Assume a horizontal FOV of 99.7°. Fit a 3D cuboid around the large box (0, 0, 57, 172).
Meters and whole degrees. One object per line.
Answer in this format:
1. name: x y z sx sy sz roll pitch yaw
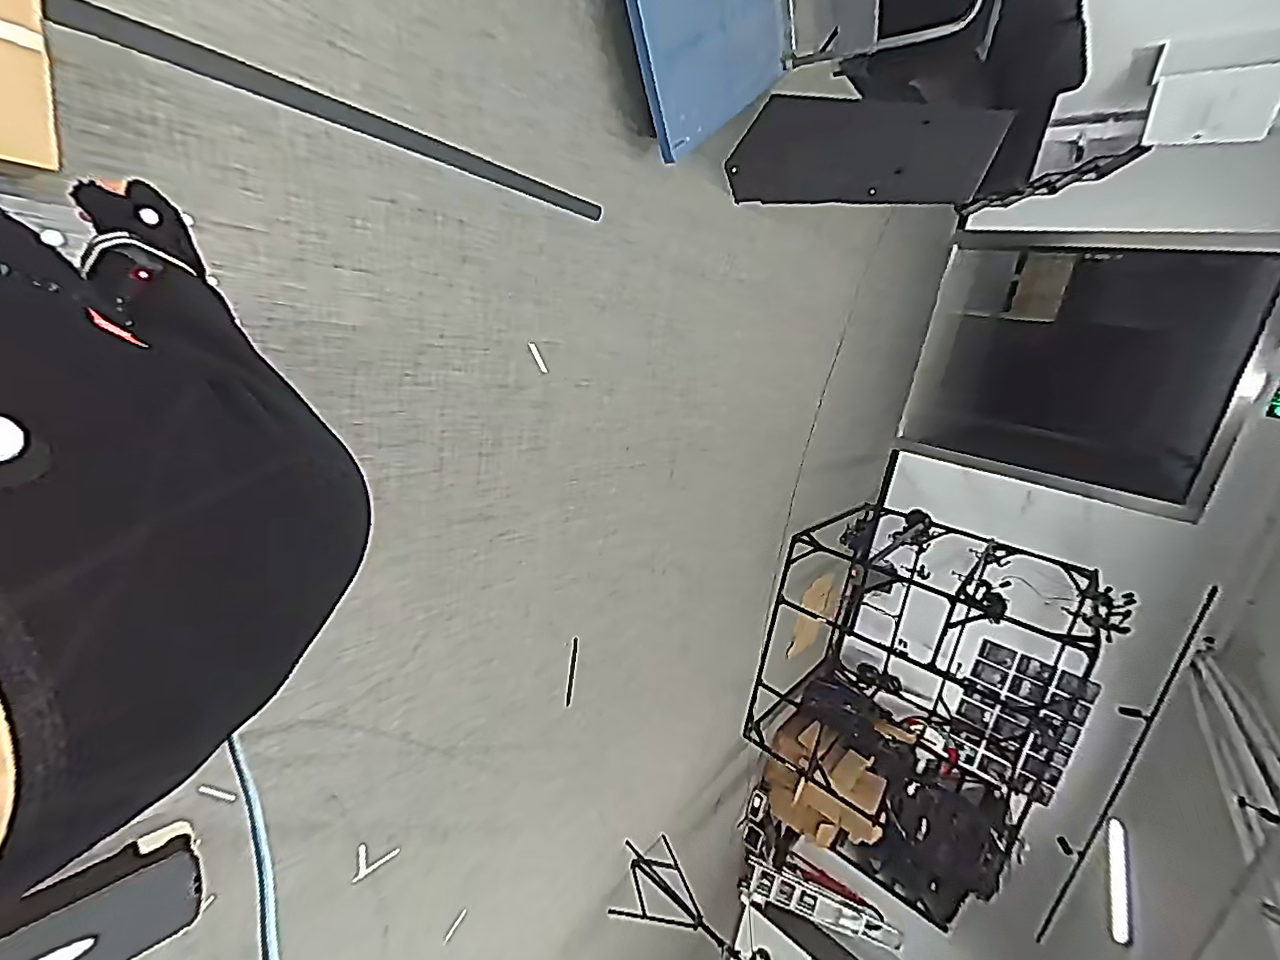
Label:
1. large box: -1.050 -0.610 0.661 0.408 0.320 0.320 -11 116 -52
